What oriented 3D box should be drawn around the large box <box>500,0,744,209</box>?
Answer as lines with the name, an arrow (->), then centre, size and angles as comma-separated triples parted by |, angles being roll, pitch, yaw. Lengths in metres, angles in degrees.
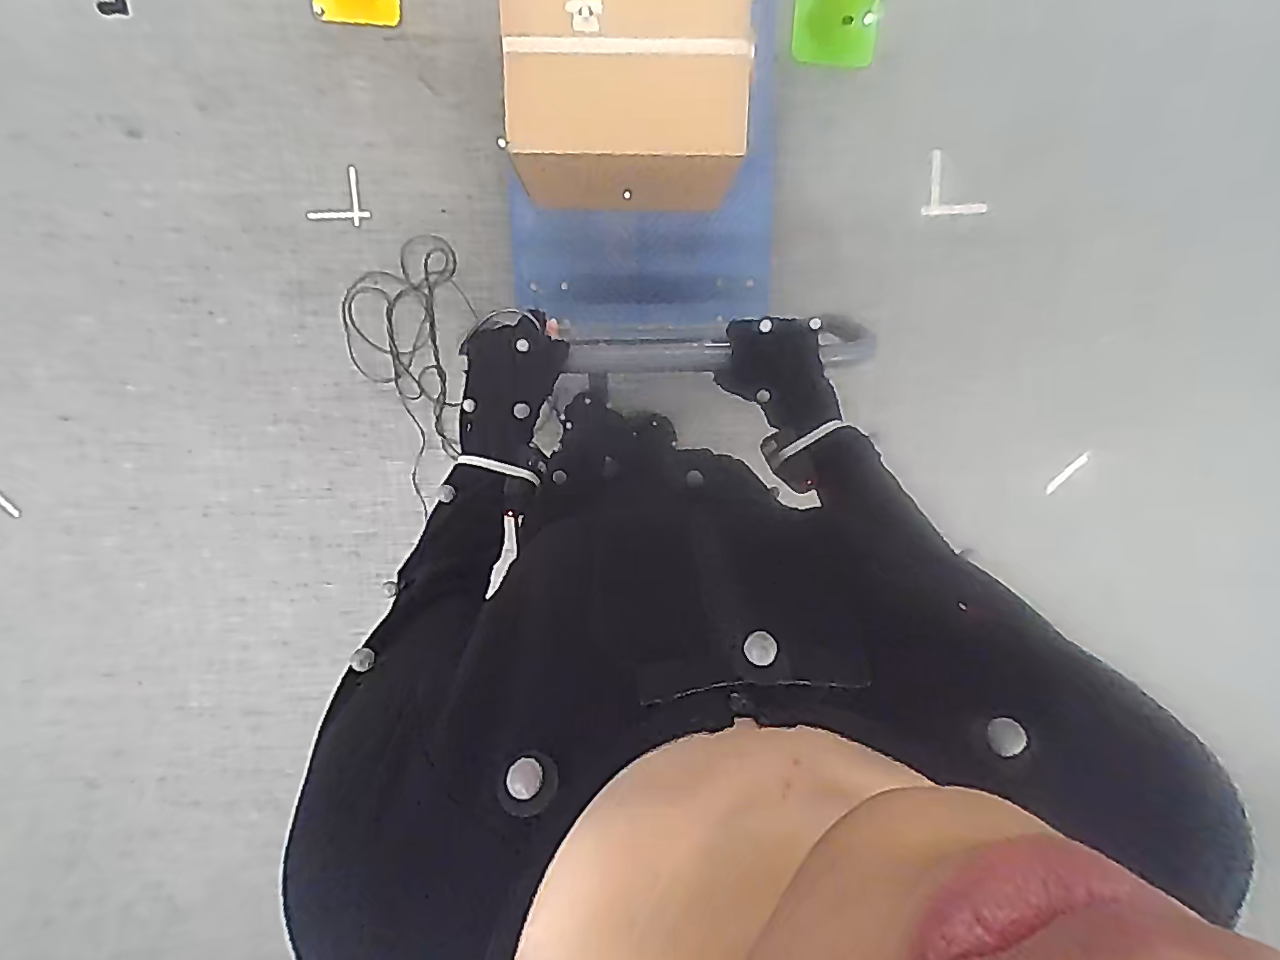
large box -> -0.028, -0.724, 1.030 | 0.408, 0.320, 0.320 | 0, 100, -1

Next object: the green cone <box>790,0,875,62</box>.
green cone -> 0.473, -1.094, 1.130 | 0.202, 0.368, 0.200 | 3, 100, -4
